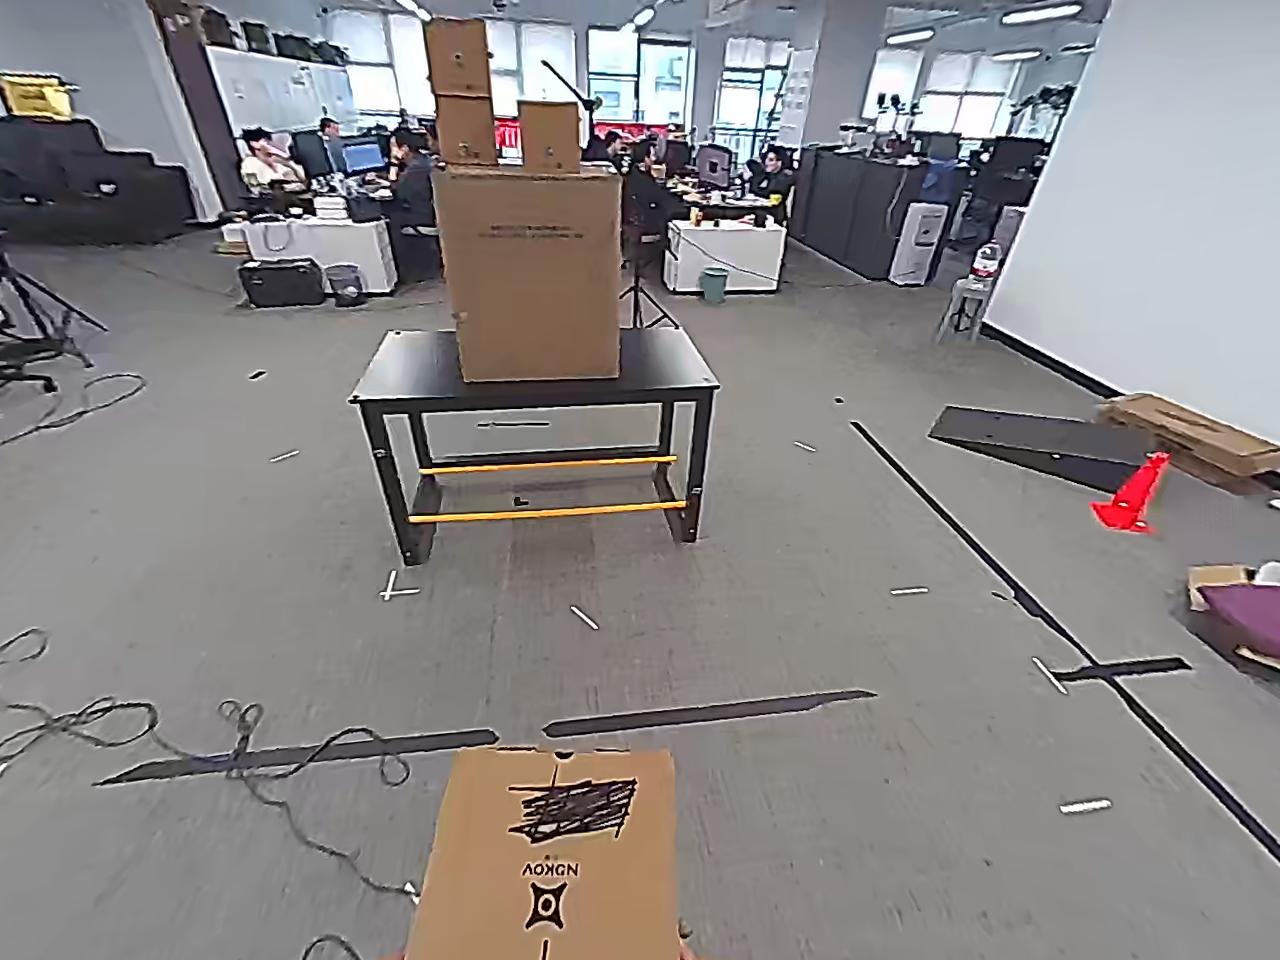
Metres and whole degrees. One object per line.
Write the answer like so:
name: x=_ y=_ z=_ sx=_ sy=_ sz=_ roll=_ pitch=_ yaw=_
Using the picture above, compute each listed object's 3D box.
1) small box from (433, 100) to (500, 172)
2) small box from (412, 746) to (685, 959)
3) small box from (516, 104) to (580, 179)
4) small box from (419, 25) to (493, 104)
small box: x=-0.514 y=-1.030 z=1.621 sx=0.168 sy=0.176 sz=0.179 roll=-6 pitch=36 yaw=-12
small box: x=-0.056 y=0.323 z=0.403 sx=0.168 sy=0.176 sz=0.179 roll=0 pitch=42 yaw=-1
small box: x=-0.264 y=-0.970 z=1.548 sx=0.168 sy=0.176 sz=0.179 roll=-6 pitch=37 yaw=-9
small box: x=-0.508 y=-1.157 z=1.515 sx=0.168 sy=0.176 sz=0.179 roll=-5 pitch=35 yaw=-10
